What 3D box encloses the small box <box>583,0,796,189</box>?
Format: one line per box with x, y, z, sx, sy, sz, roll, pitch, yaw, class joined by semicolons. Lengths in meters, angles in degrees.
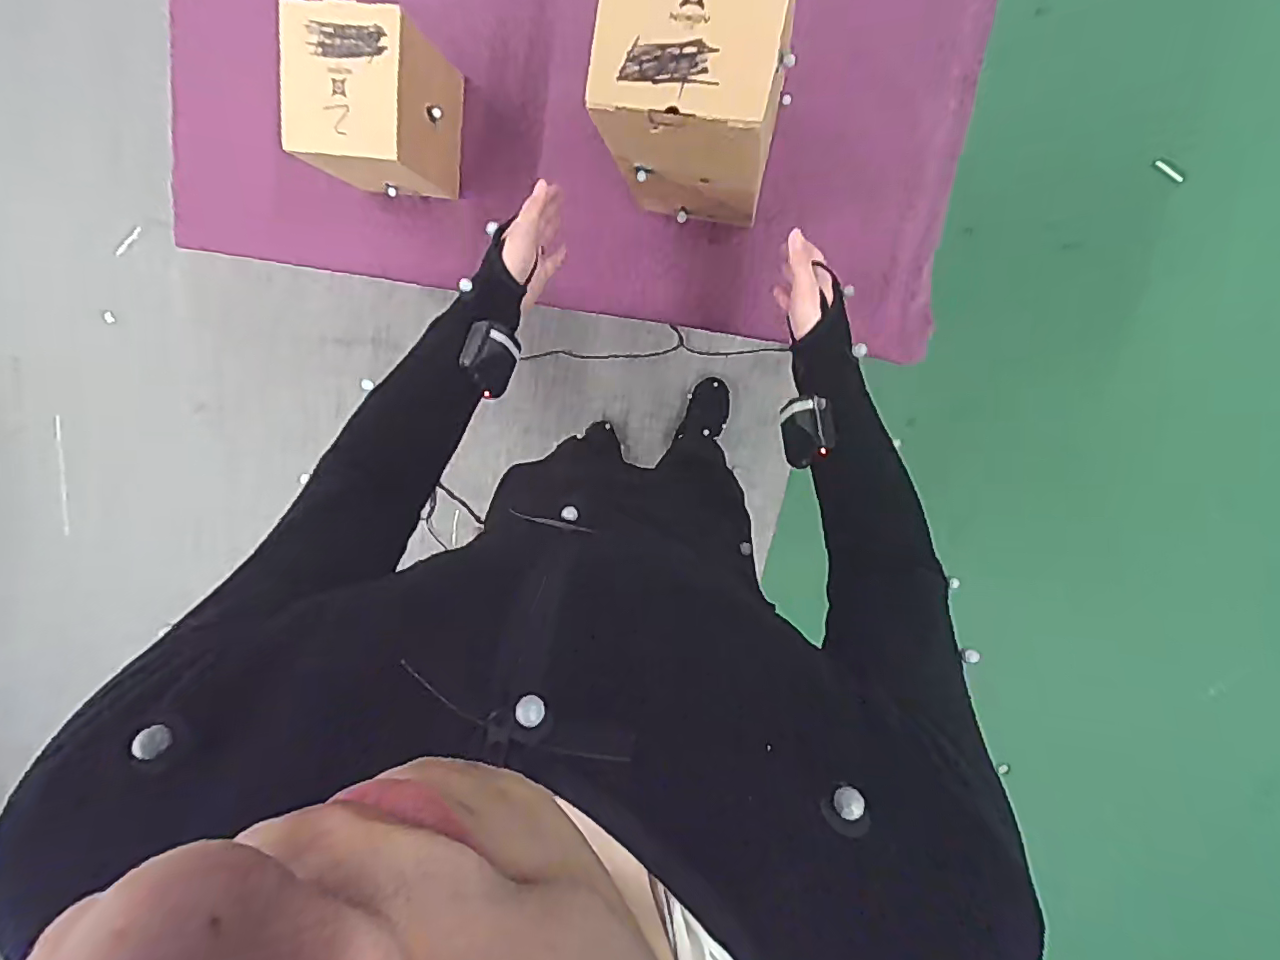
0.057;-0.415;0.538;0.168;0.176;0.179;13;101;8;small box

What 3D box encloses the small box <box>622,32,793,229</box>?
0.086;-0.447;0.696;0.168;0.176;0.179;13;102;8;small box
